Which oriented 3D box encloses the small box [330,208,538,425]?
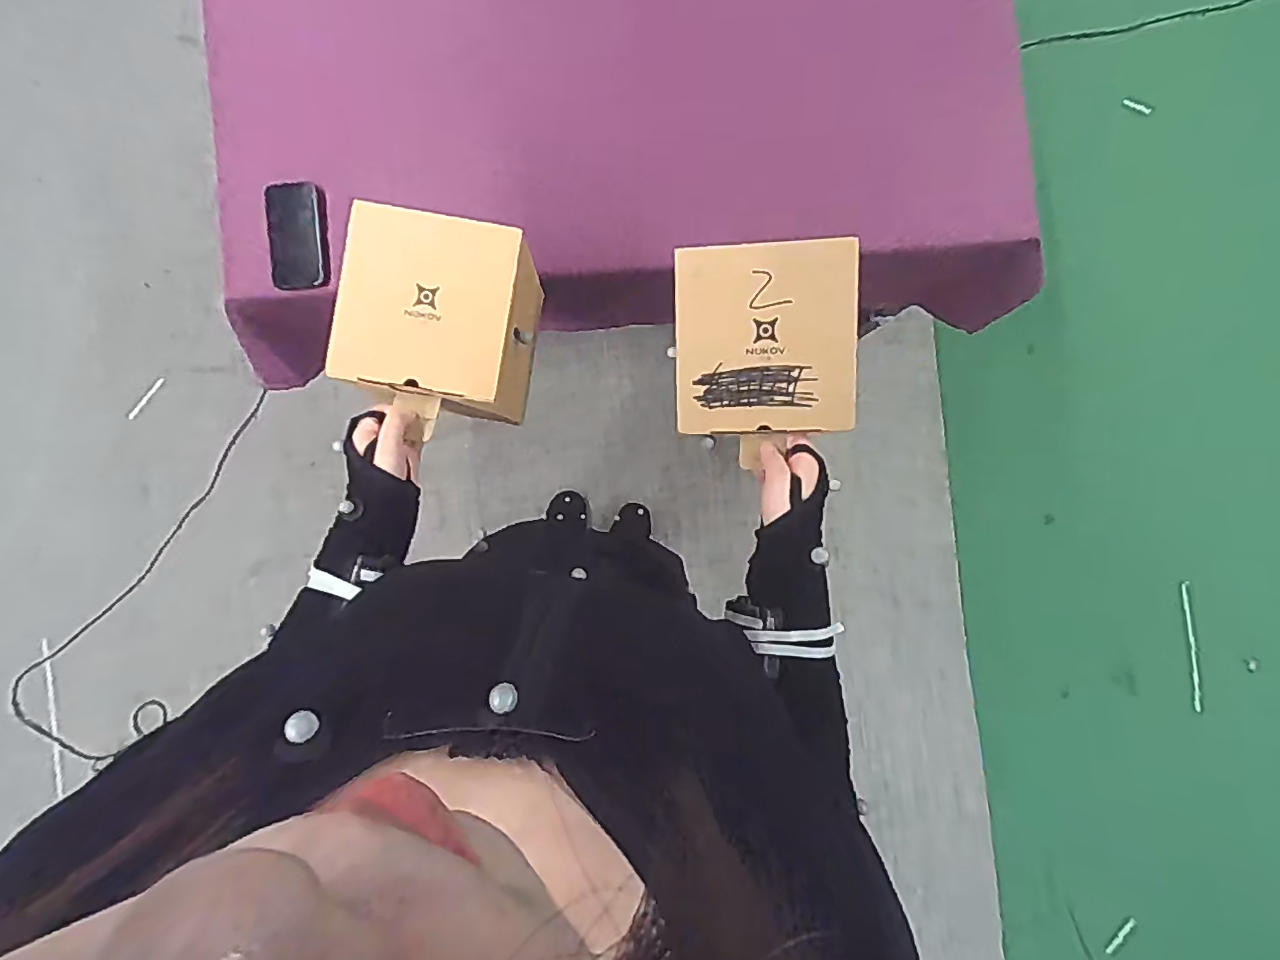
[{"bbox_3d":[-0.215,-0.169,0.613,0.168,0.176,0.179,9,89,-3],"label":"small box"}]
